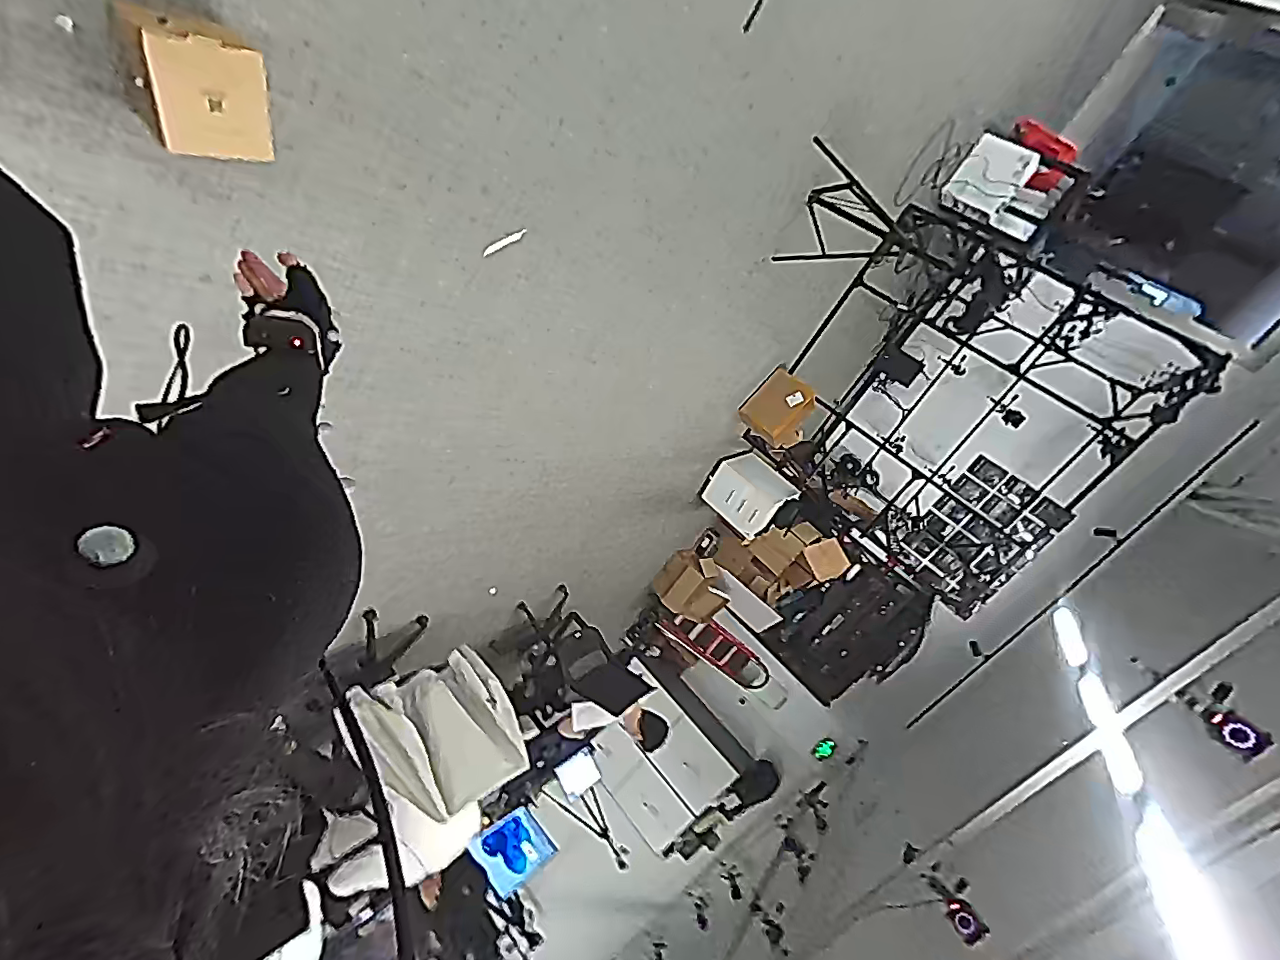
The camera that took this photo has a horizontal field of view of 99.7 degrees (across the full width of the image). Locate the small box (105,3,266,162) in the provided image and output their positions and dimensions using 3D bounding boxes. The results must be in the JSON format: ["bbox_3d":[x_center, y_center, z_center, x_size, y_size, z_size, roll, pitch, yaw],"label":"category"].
[{"bbox_3d":[-0.791,-0.692,0.950,0.168,0.176,0.179,-23,148,-42],"label":"small box"}]
